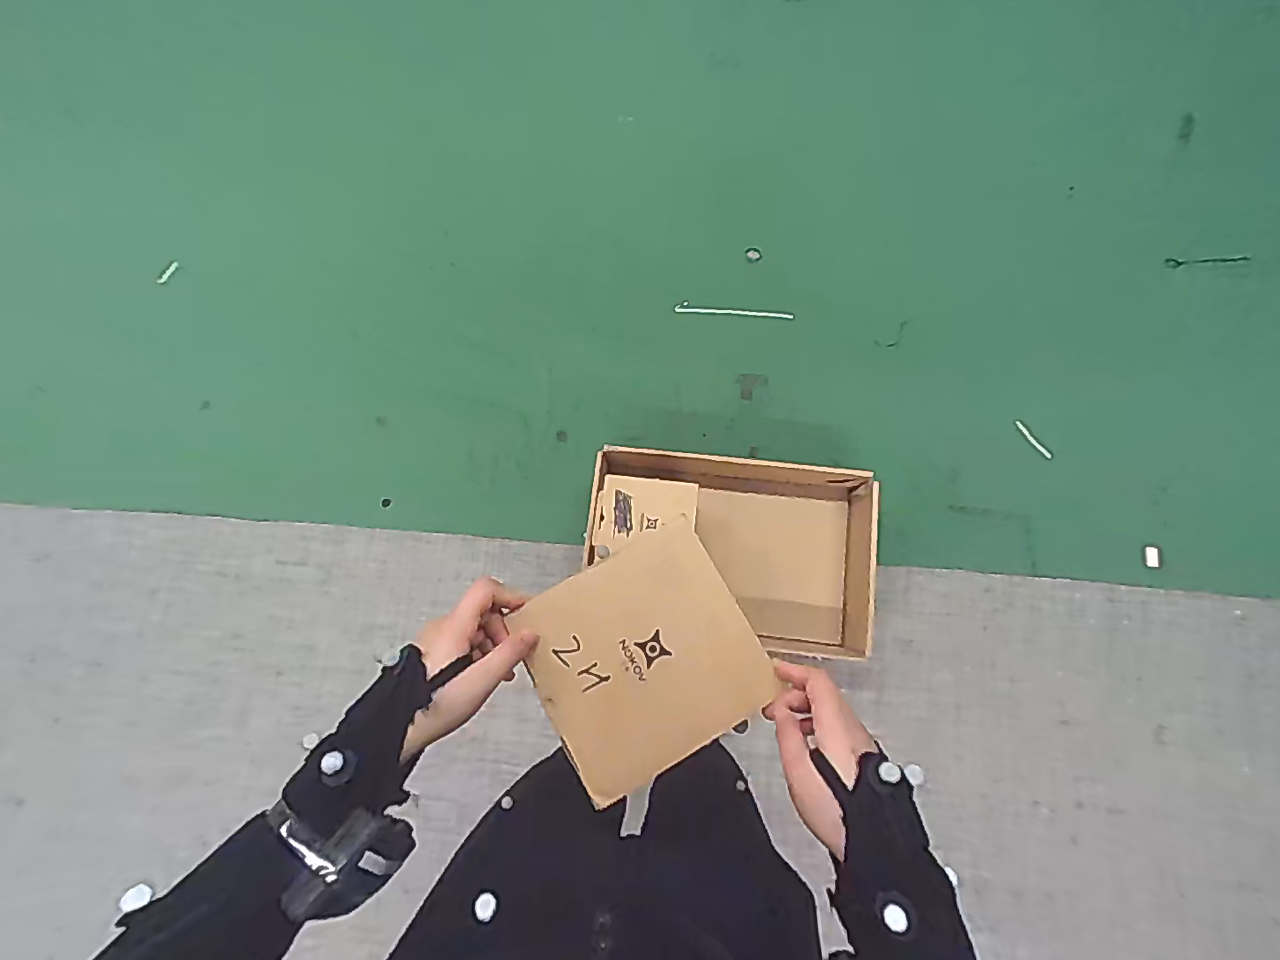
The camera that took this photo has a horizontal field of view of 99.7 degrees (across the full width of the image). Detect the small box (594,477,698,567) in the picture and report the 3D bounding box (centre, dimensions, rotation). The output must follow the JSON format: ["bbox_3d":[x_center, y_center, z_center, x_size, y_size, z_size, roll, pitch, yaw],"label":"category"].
[{"bbox_3d":[0.014,0.096,1.053,0.179,0.176,0.168,6,81,2],"label":"small box"}]

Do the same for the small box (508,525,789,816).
[{"bbox_3d":[0.003,0.162,0.507,0.179,0.176,0.168,-29,79,-7],"label":"small box"}]
